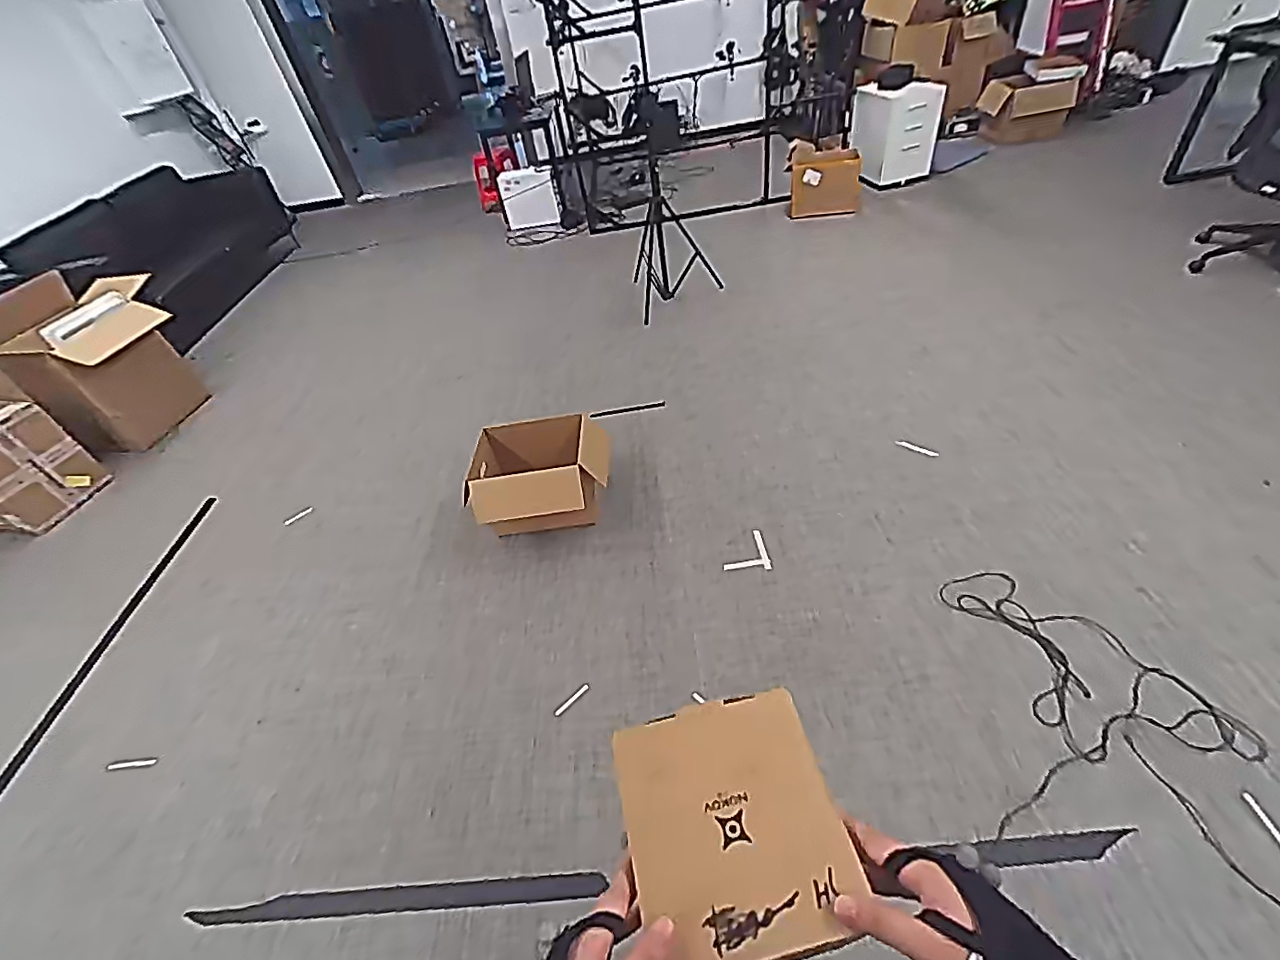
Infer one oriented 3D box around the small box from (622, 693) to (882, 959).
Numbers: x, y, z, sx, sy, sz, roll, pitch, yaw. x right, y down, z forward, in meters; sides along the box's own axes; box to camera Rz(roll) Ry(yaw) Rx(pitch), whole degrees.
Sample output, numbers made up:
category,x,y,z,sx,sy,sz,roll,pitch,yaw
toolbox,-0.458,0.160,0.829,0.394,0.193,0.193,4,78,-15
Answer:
category,x,y,z,sx,sy,sz,roll,pitch,yaw
small box,0.084,0.327,0.491,0.168,0.176,0.179,-13,46,-3
